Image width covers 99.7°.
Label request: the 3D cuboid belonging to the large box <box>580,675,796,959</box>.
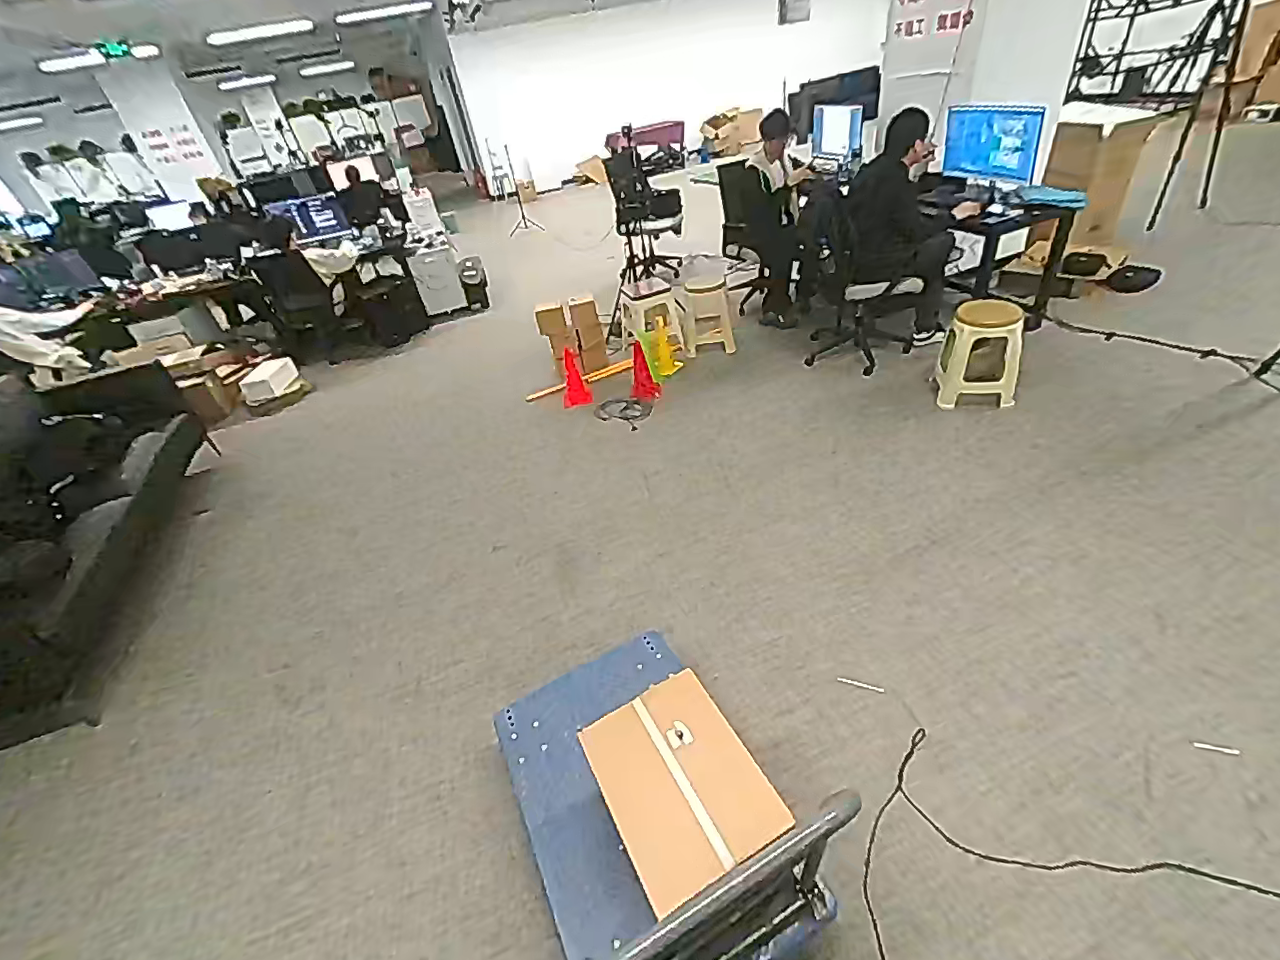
[{"bbox_3d":[0.108,0.753,1.241,0.320,0.320,0.408,-24,39,-16],"label":"large box"}]
